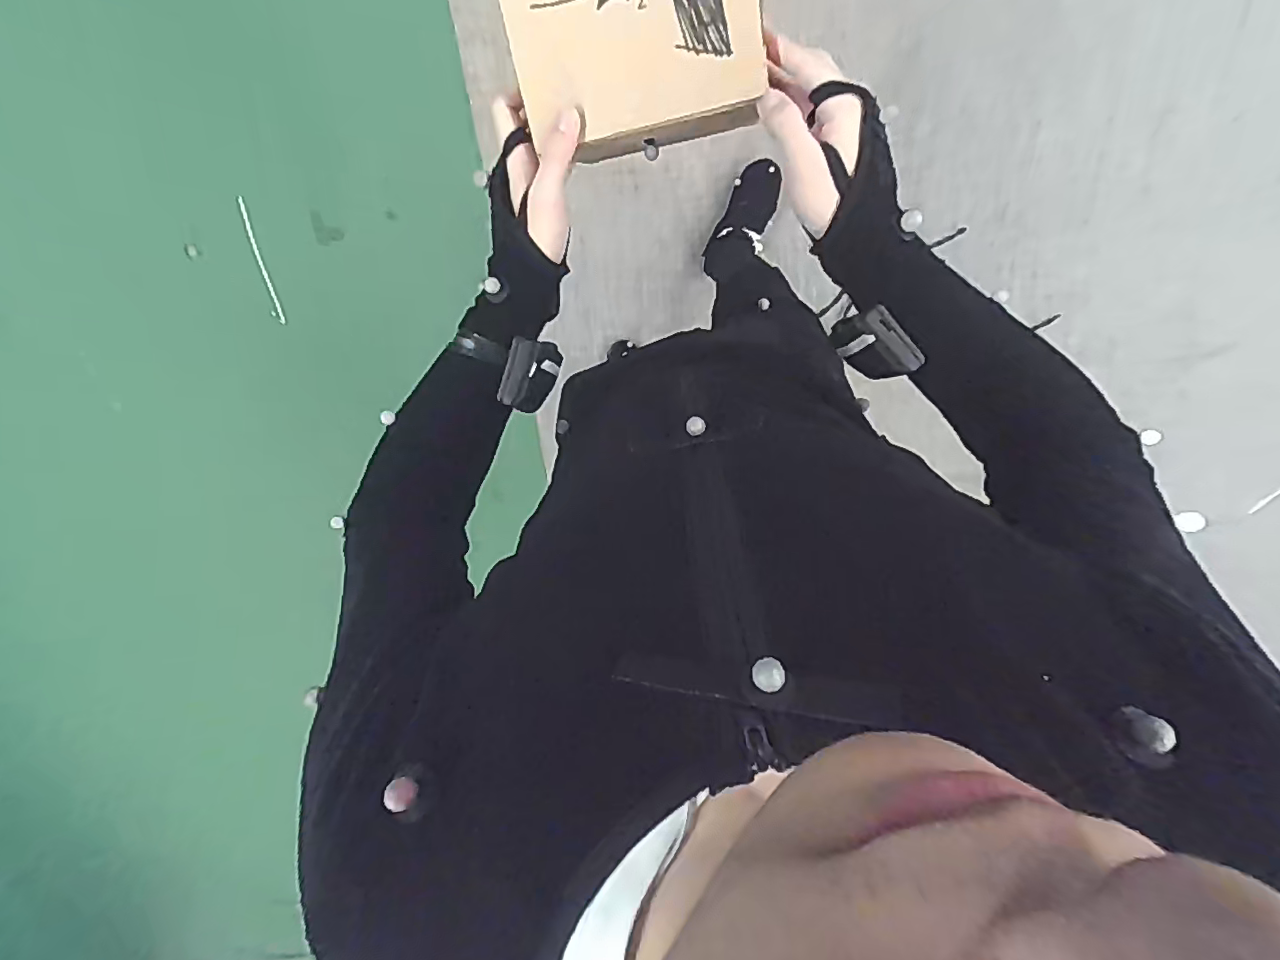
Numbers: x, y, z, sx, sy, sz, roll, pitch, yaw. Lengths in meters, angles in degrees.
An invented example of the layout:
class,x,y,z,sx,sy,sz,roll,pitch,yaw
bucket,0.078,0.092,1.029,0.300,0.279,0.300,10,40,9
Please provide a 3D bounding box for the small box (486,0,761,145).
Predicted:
class,x,y,z,sx,sy,sz,roll,pitch,yaw
small box,-0.006,-0.363,0.405,0.179,0.176,0.168,-4,118,12
